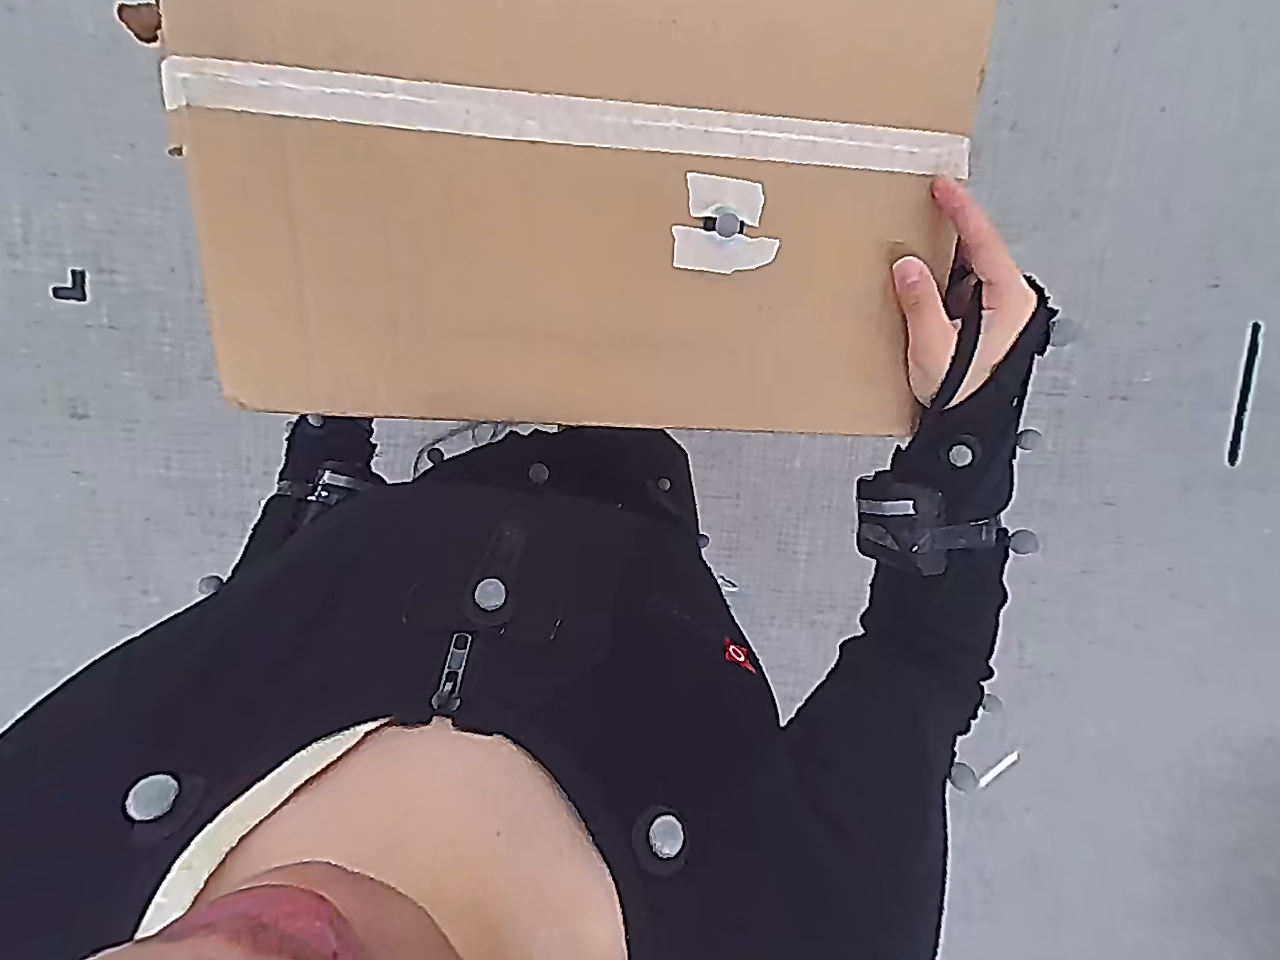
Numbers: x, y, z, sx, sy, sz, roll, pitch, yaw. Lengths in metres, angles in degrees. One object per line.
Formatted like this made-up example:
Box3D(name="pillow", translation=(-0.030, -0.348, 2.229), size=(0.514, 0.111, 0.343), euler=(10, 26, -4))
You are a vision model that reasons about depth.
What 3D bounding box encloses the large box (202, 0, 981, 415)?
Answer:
Box3D(name="large box", translation=(-0.033, -0.228, 0.433), size=(0.408, 0.320, 0.320), euler=(1, 106, -7))
